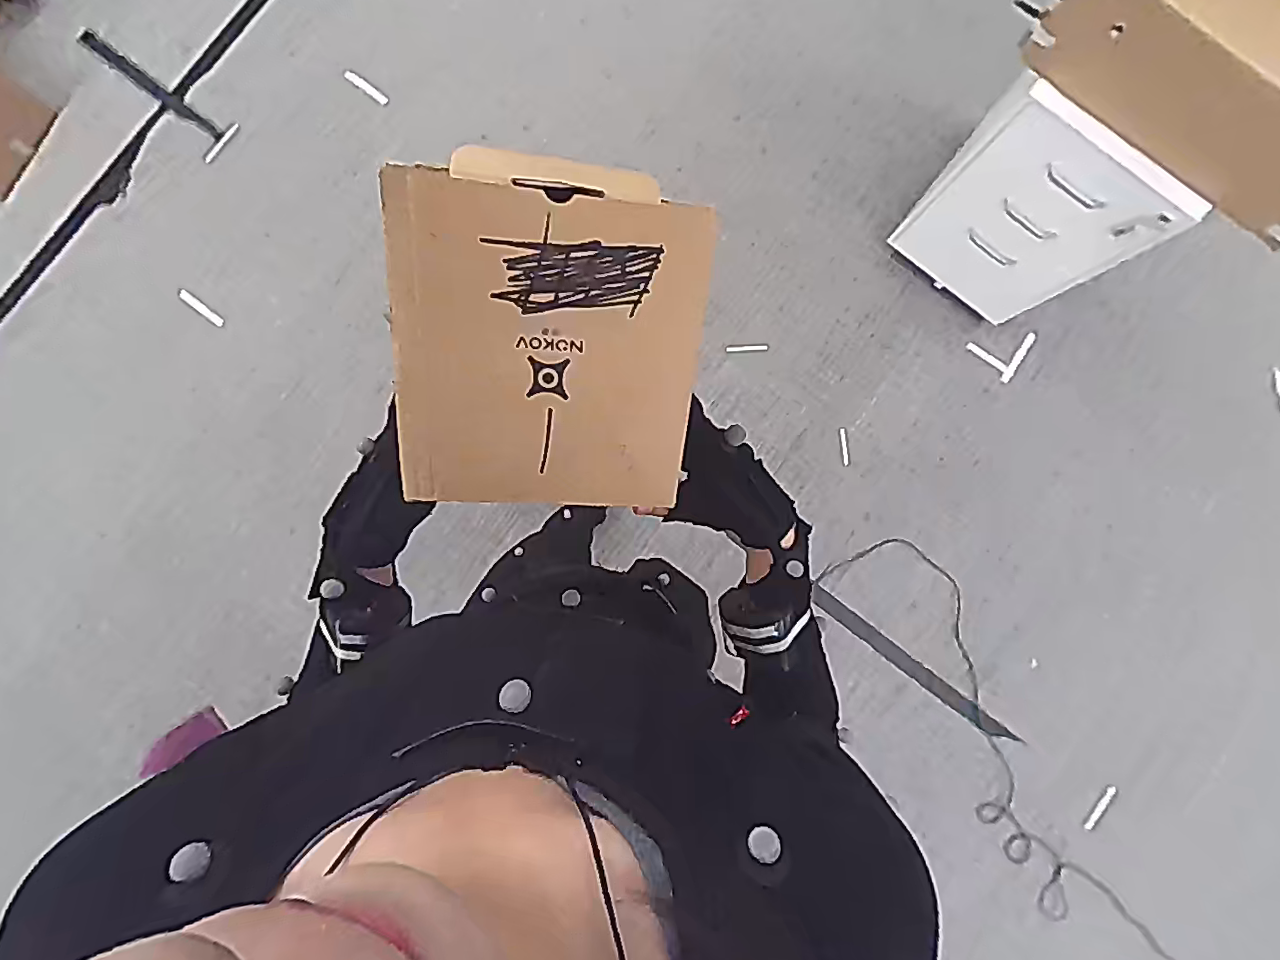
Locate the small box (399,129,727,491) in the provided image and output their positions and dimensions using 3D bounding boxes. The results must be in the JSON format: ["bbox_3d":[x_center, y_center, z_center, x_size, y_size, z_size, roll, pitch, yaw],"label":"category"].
[{"bbox_3d":[-0.056,-0.107,0.367,0.168,0.176,0.179,3,112,-11],"label":"small box"}]
